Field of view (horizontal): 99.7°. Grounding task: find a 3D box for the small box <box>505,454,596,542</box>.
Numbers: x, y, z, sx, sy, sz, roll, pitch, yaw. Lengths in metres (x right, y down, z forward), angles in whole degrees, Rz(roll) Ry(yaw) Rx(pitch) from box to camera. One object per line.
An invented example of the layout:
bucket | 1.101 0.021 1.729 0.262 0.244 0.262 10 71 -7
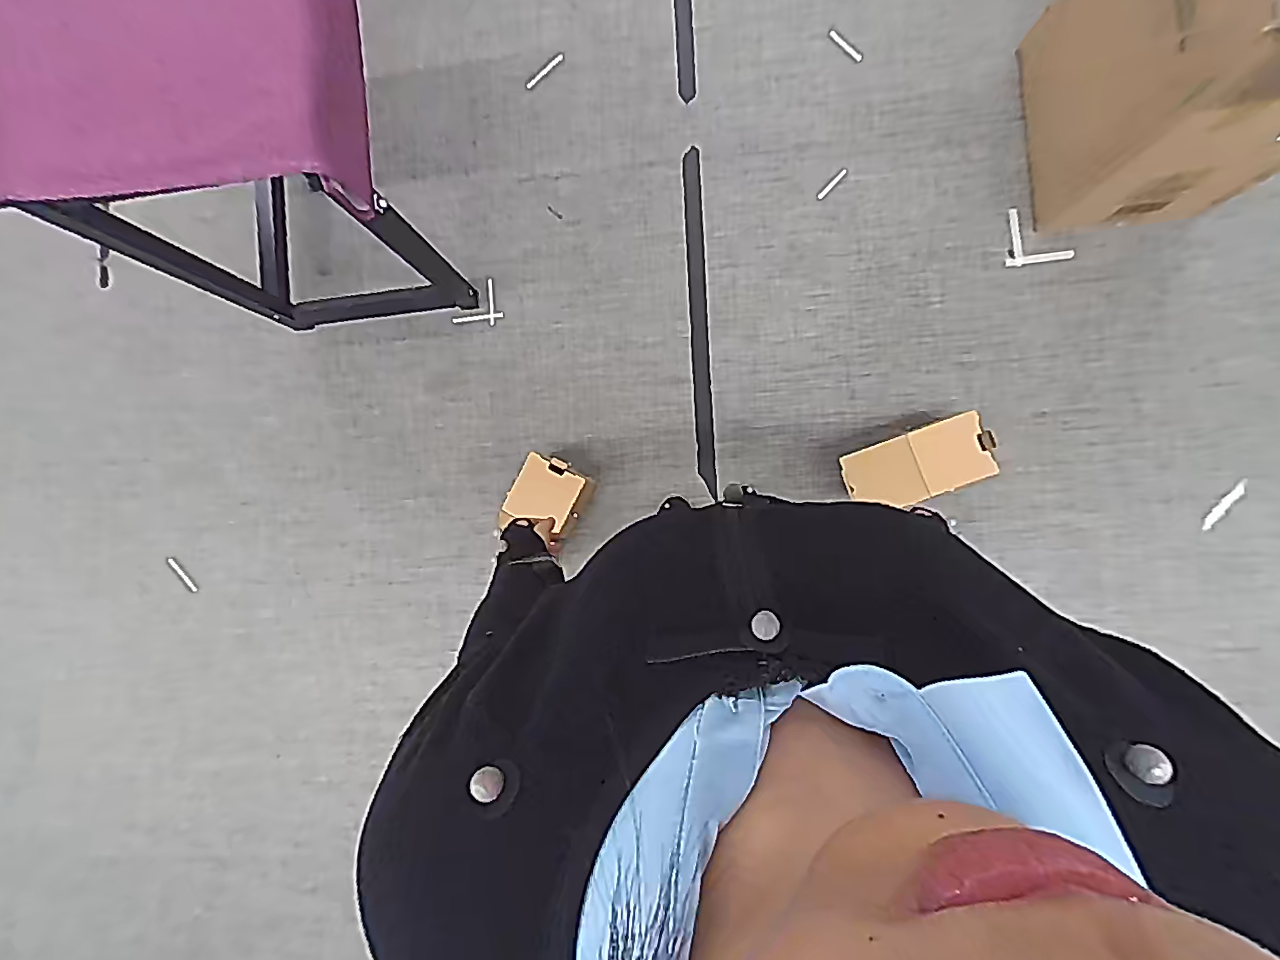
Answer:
small box | -0.234 0.050 1.468 0.168 0.176 0.179 27 90 6
